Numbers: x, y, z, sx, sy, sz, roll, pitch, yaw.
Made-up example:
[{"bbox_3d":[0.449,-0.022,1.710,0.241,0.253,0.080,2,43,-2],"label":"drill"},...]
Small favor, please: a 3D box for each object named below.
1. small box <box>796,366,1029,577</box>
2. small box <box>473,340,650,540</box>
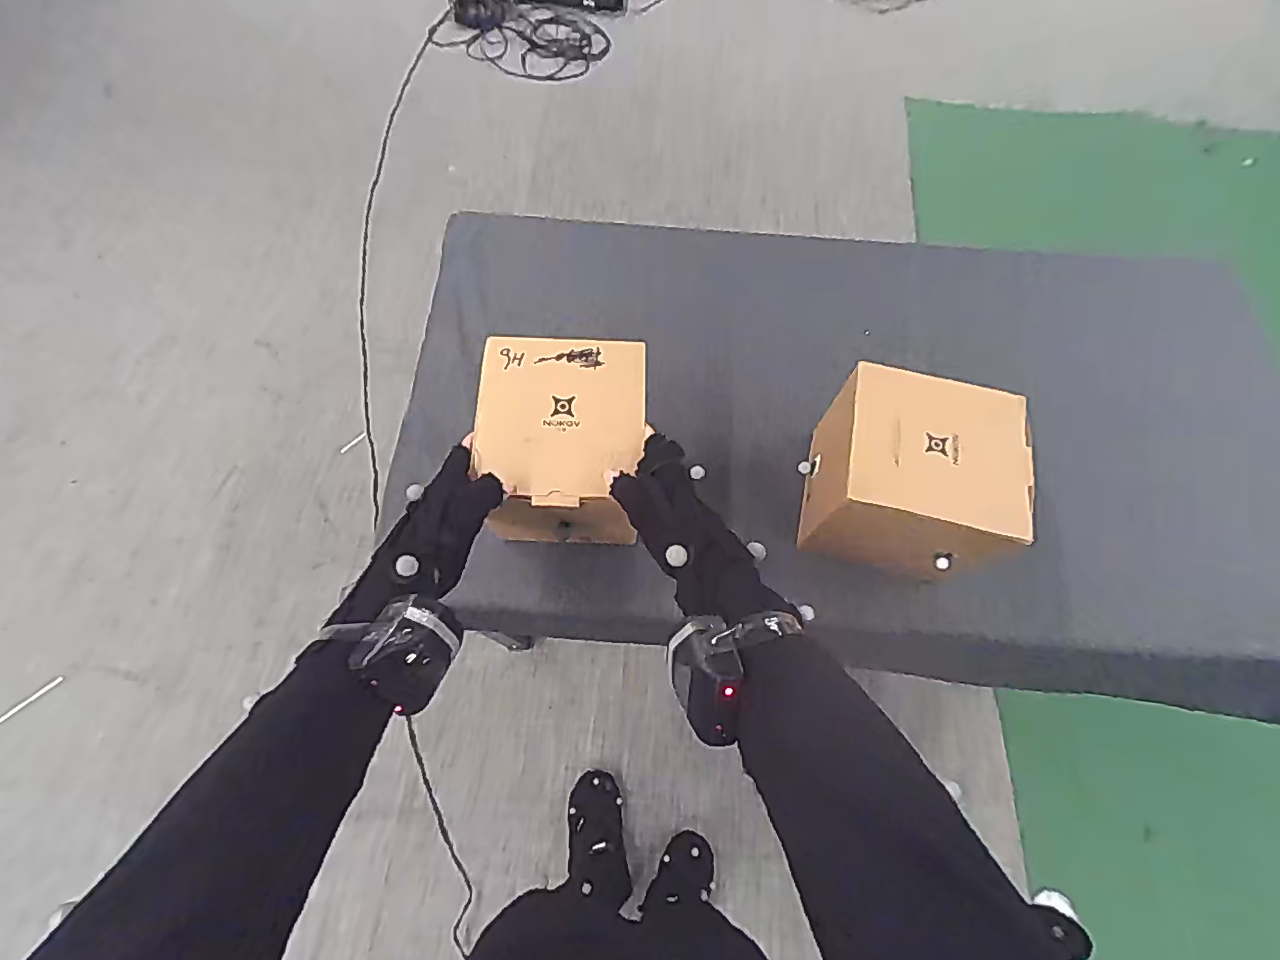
[{"bbox_3d":[0.295,0.001,0.614,0.179,0.176,0.168,13,65,4],"label":"small box"},{"bbox_3d":[-0.076,-0.034,0.607,0.168,0.176,0.179,2,70,-3],"label":"small box"}]
